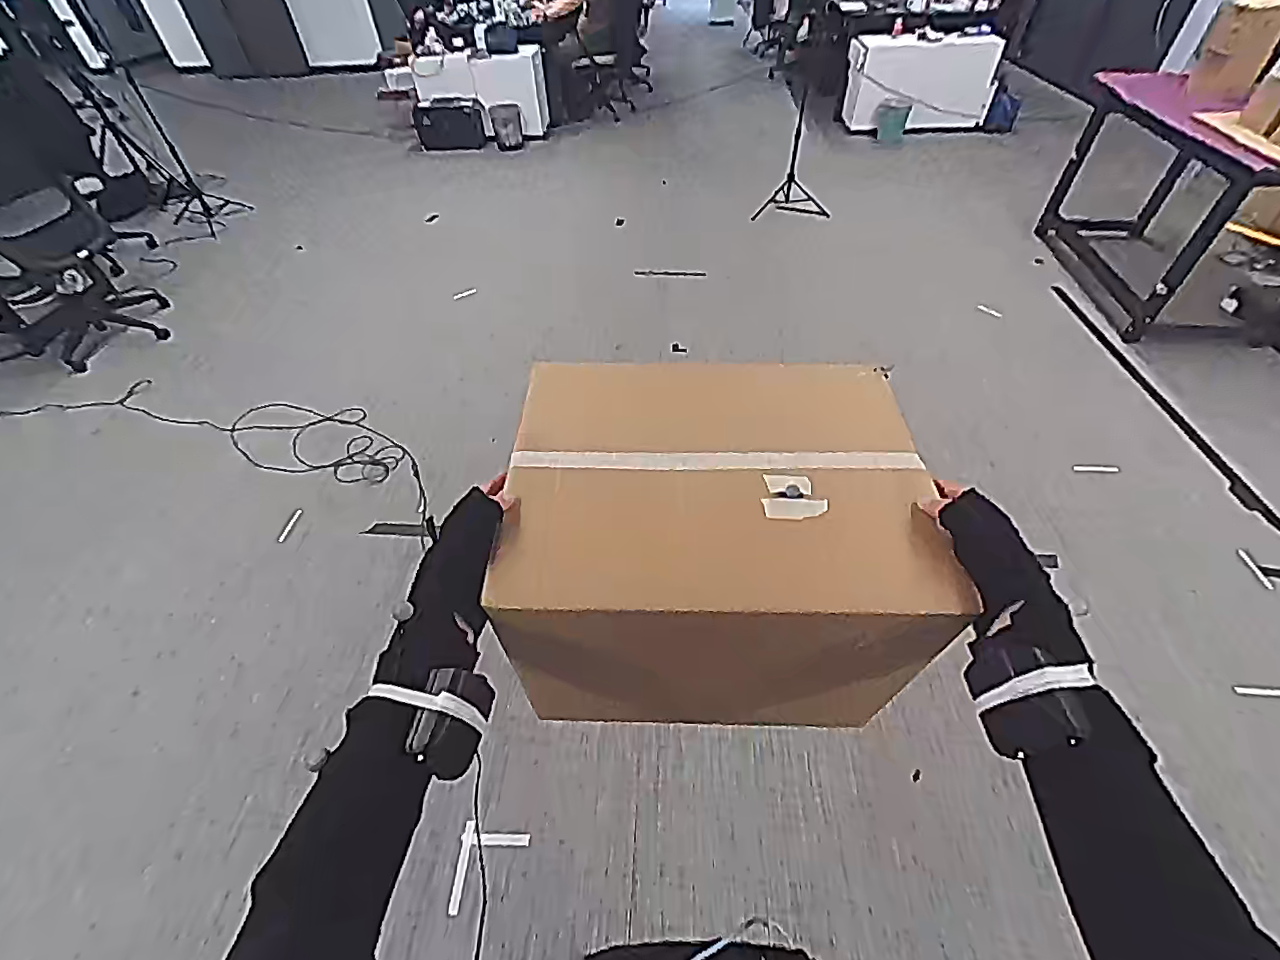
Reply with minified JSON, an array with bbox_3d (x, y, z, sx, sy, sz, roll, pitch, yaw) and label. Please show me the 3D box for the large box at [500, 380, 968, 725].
[{"bbox_3d":[0.078,0.093,0.659,0.408,0.320,0.320,1,51,1],"label":"large box"}]
